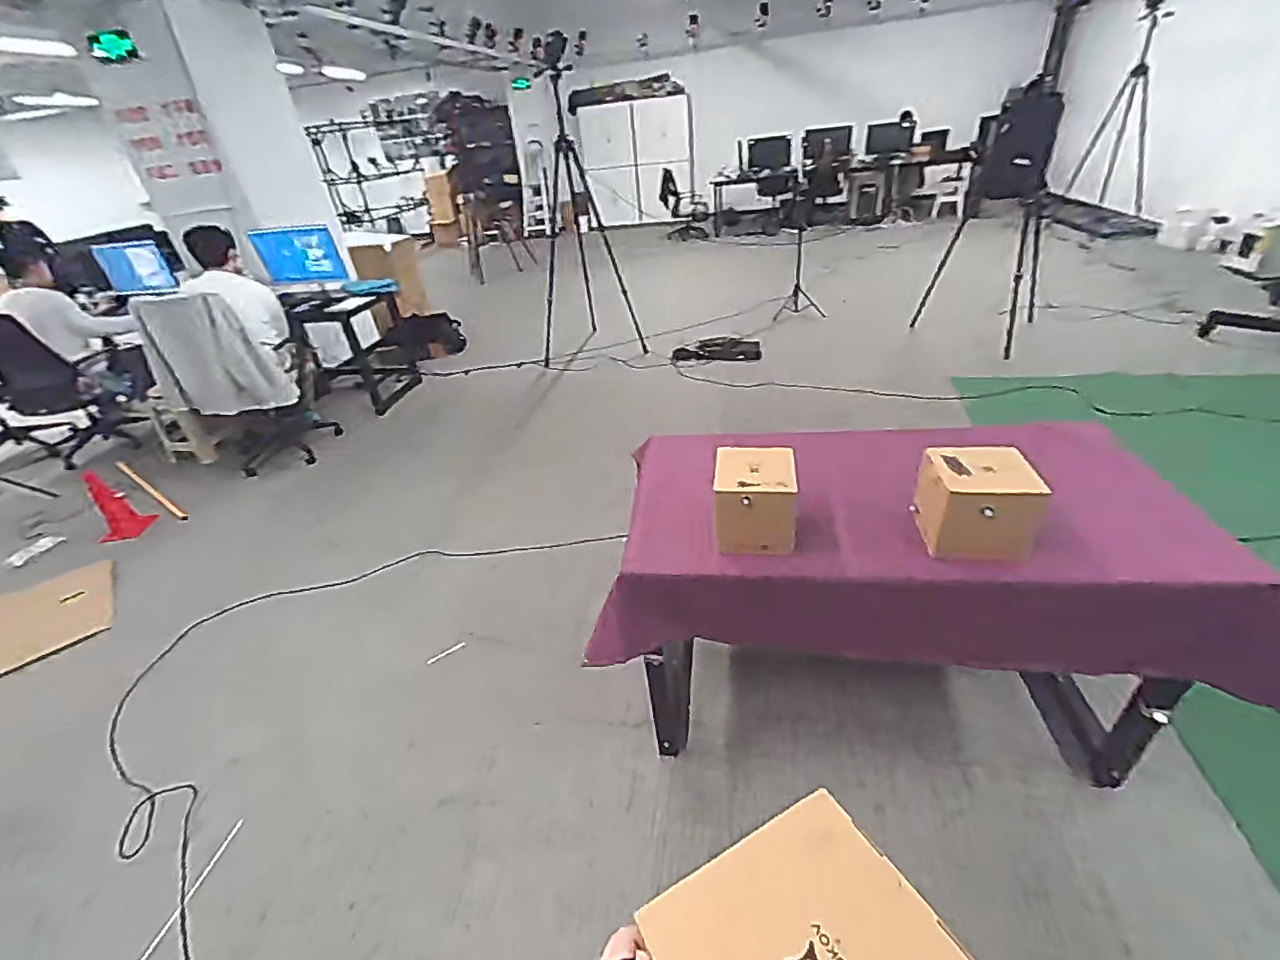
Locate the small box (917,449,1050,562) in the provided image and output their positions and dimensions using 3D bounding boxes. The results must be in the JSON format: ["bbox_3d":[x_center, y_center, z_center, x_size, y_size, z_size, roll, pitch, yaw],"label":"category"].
[{"bbox_3d":[0.680,0.051,1.099,0.179,0.176,0.168,1,34,11],"label":"small box"}]

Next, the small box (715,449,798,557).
[{"bbox_3d":[0.253,0.047,1.186,0.168,0.176,0.179,0,33,12],"label":"small box"}]
